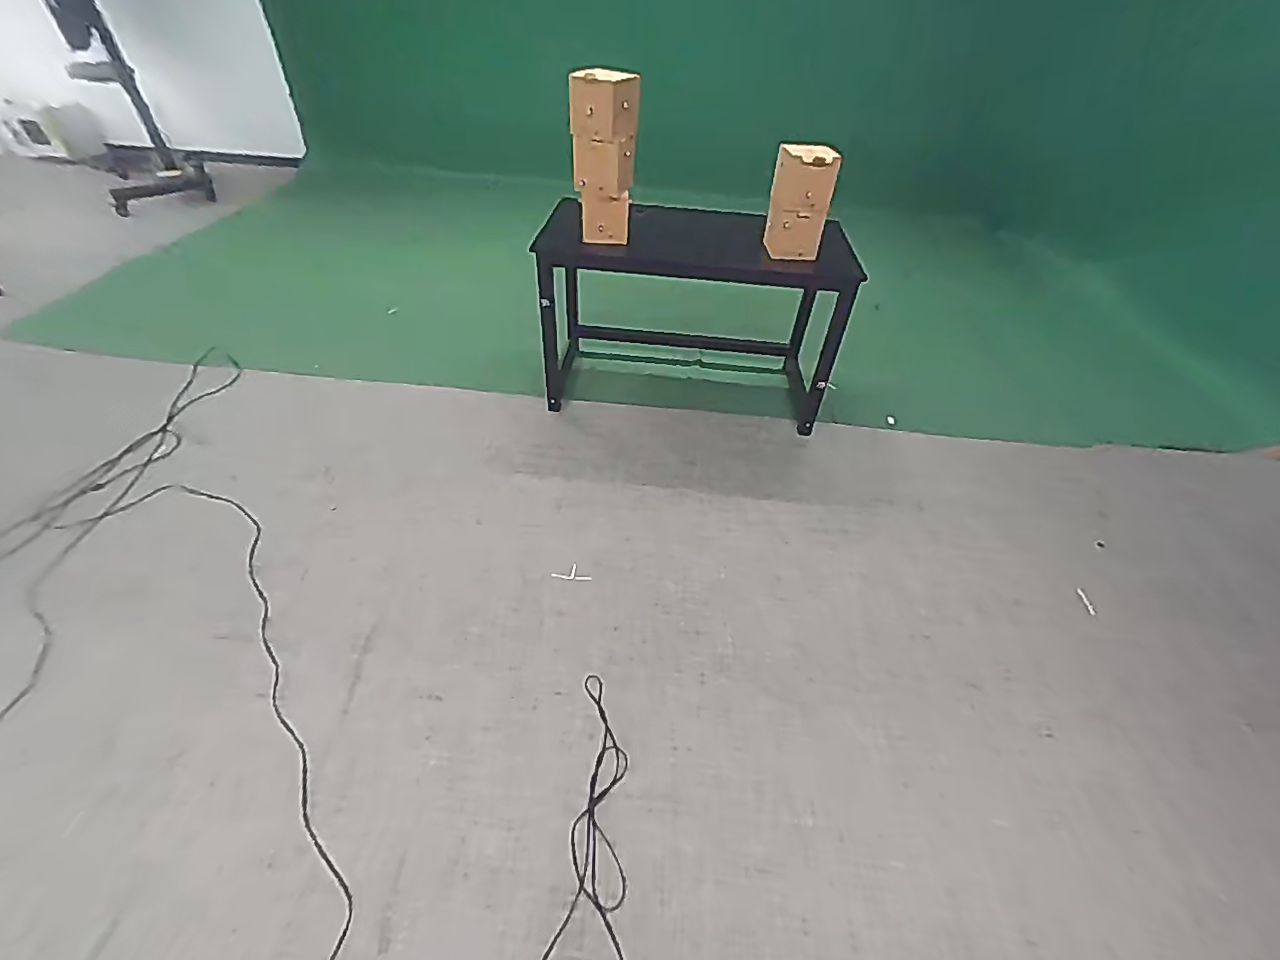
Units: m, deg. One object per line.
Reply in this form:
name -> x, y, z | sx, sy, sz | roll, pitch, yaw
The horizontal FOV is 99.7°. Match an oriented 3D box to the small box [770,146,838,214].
small box -> 0.562, -1.044, 1.879 | 0.168, 0.176, 0.179 | 0, 43, -3

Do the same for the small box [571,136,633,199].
small box -> -0.131, -1.108, 1.901 | 0.168, 0.176, 0.179 | 15, 44, 10

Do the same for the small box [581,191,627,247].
small box -> -0.136, -0.988, 2.014 | 0.168, 0.176, 0.179 | 0, 44, -5

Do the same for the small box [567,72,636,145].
small box -> -0.124, -1.231, 1.793 | 0.168, 0.176, 0.179 | 23, 48, 18
